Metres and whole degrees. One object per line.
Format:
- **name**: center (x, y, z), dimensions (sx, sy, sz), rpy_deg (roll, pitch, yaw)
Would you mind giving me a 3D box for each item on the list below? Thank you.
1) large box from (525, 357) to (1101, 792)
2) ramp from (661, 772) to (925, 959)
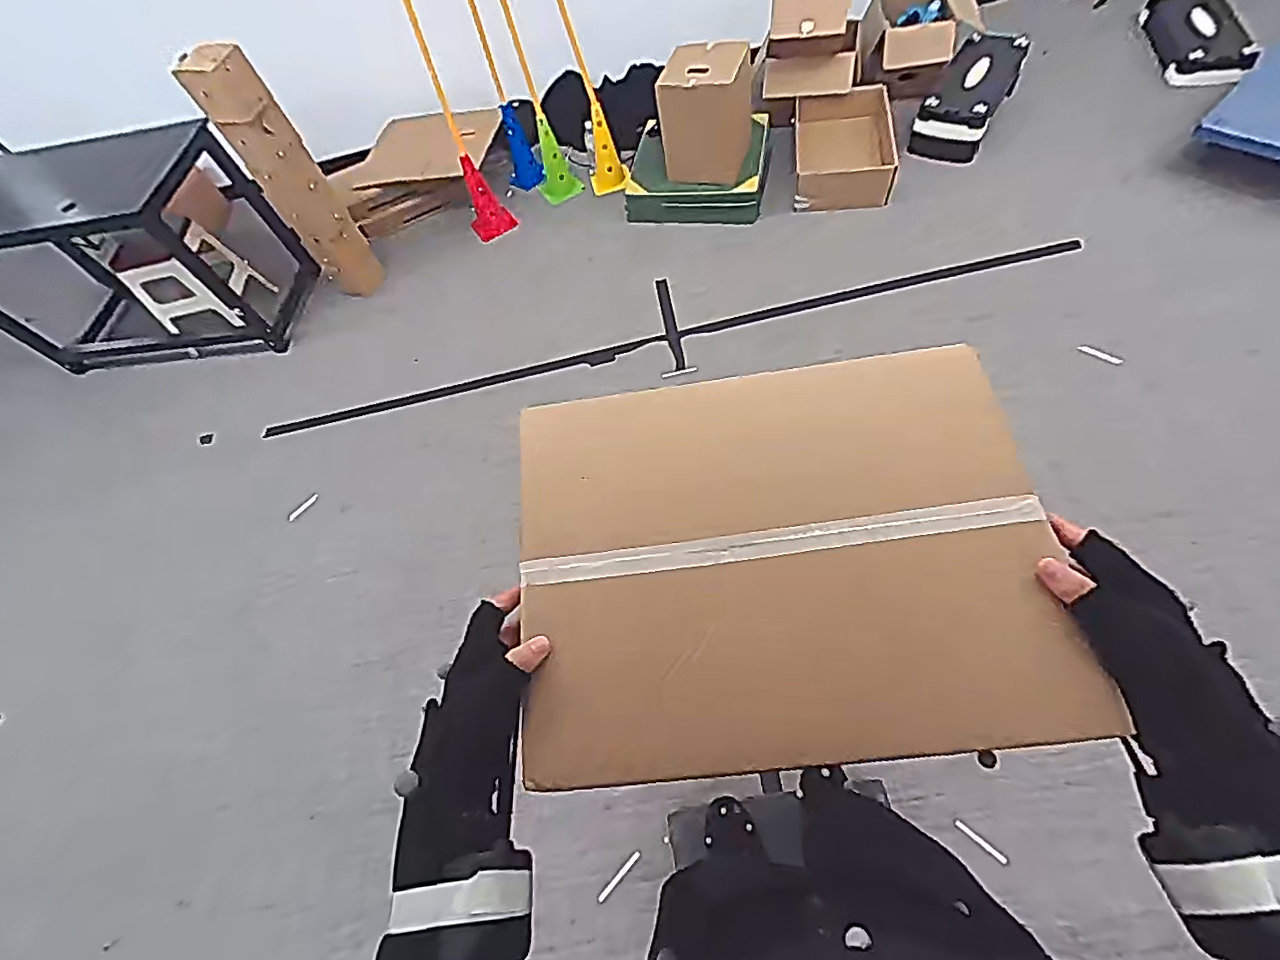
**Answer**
- **large box**: center (0.122, 0.112, 0.571), dimensions (0.408, 0.320, 0.320), rpy_deg (-8, 66, 4)
- **ramp**: center (0.367, 1.162, 1.063), dimensions (0.509, 0.206, 0.991), rpy_deg (-12, 60, 2)
